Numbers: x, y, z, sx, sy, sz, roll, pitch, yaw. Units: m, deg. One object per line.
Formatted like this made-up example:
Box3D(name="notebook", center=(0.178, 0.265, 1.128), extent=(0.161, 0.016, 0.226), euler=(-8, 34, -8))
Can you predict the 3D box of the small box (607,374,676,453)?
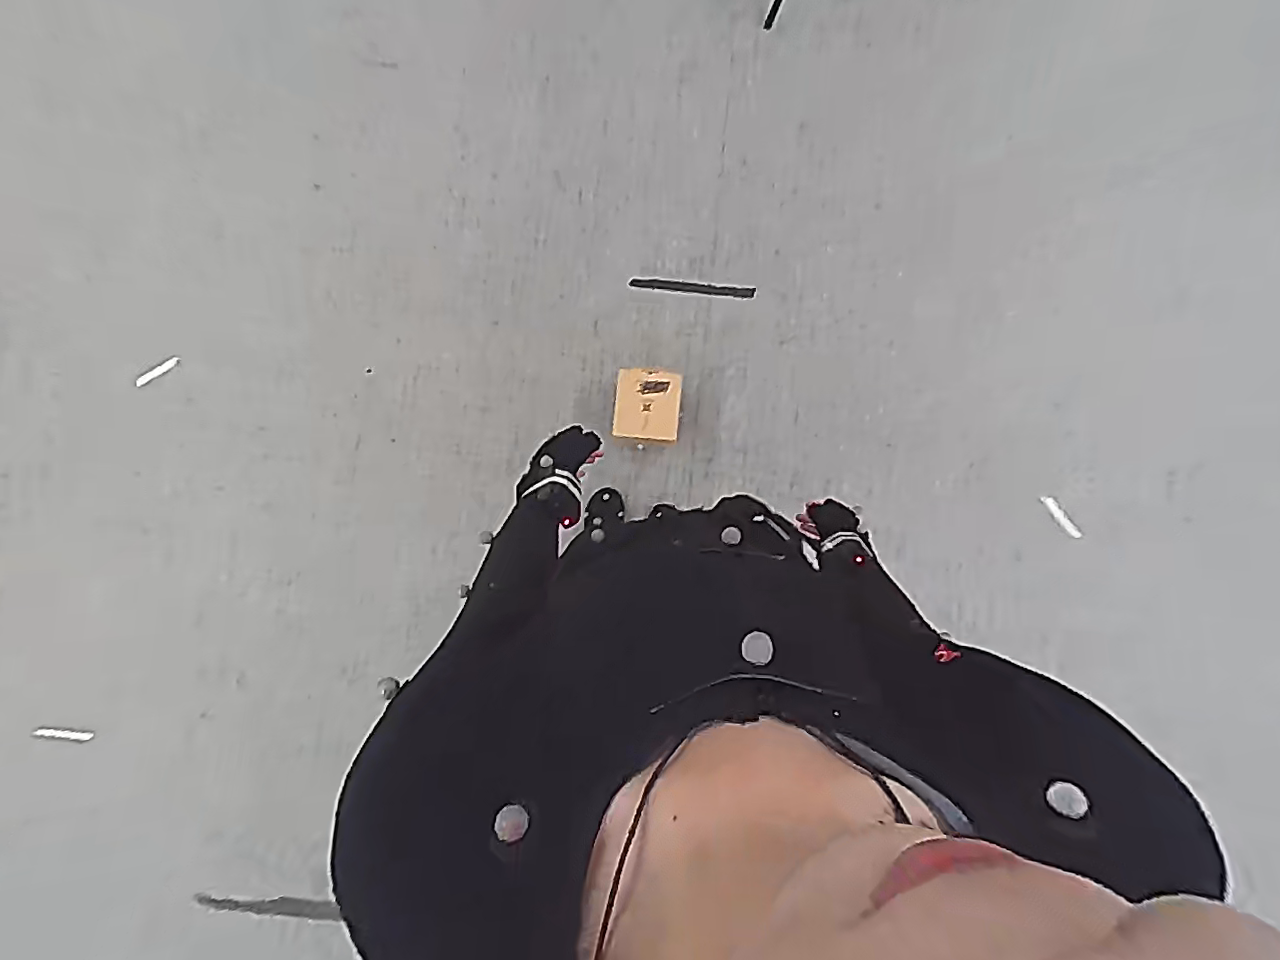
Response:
Box3D(name="small box", center=(0.001, -0.175, 1.465), extent=(0.168, 0.176, 0.179), euler=(6, 88, -1))
